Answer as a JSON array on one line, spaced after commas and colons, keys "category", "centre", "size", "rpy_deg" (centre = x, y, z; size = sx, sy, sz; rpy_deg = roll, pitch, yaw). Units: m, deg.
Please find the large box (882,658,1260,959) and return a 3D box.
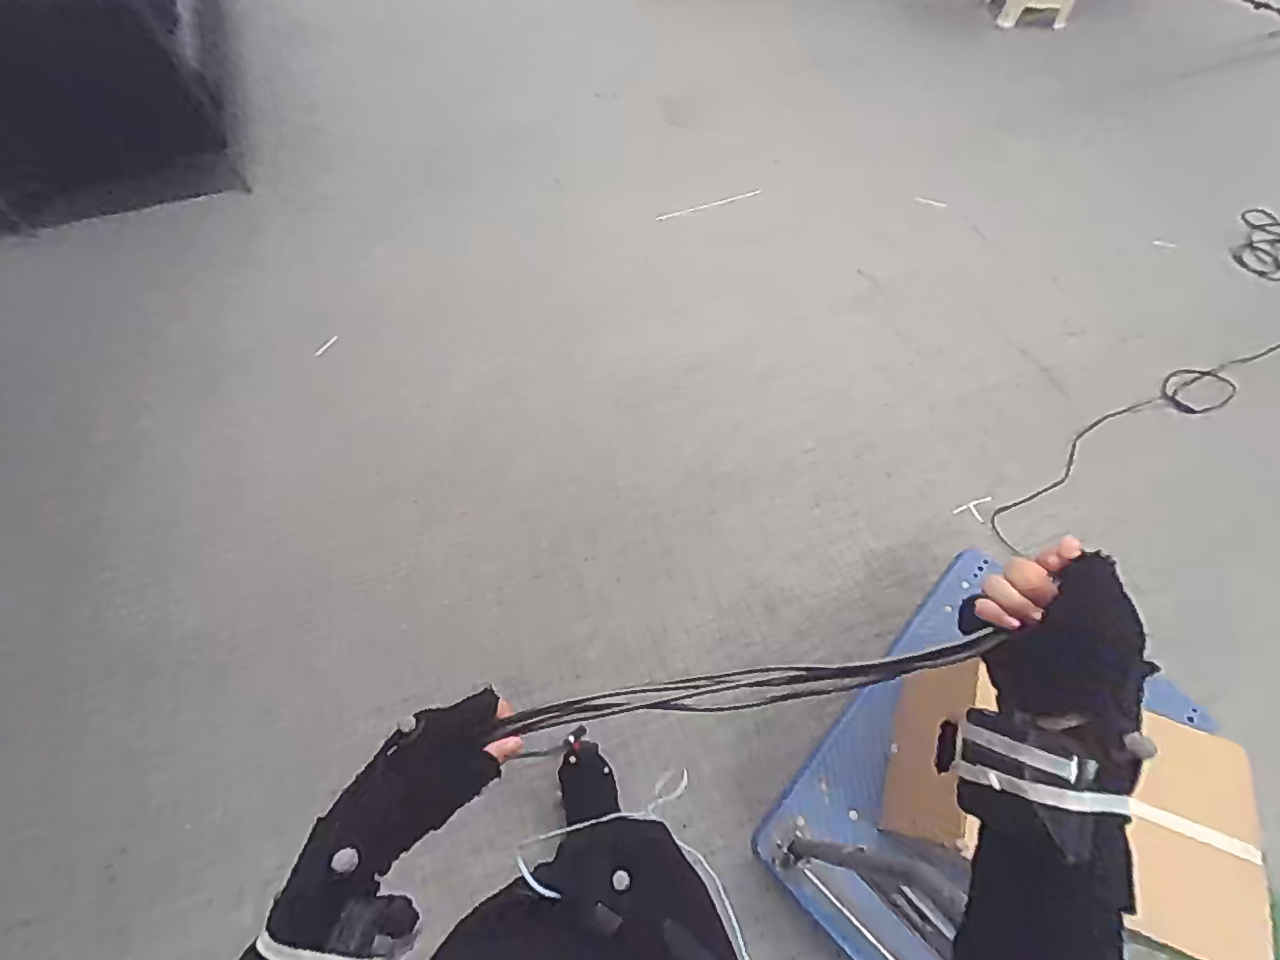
[{"category": "large box", "centre": [0.706, 0.558, 0.955], "size": [0.408, 0.320, 0.320], "rpy_deg": [18, 62, 11]}]
